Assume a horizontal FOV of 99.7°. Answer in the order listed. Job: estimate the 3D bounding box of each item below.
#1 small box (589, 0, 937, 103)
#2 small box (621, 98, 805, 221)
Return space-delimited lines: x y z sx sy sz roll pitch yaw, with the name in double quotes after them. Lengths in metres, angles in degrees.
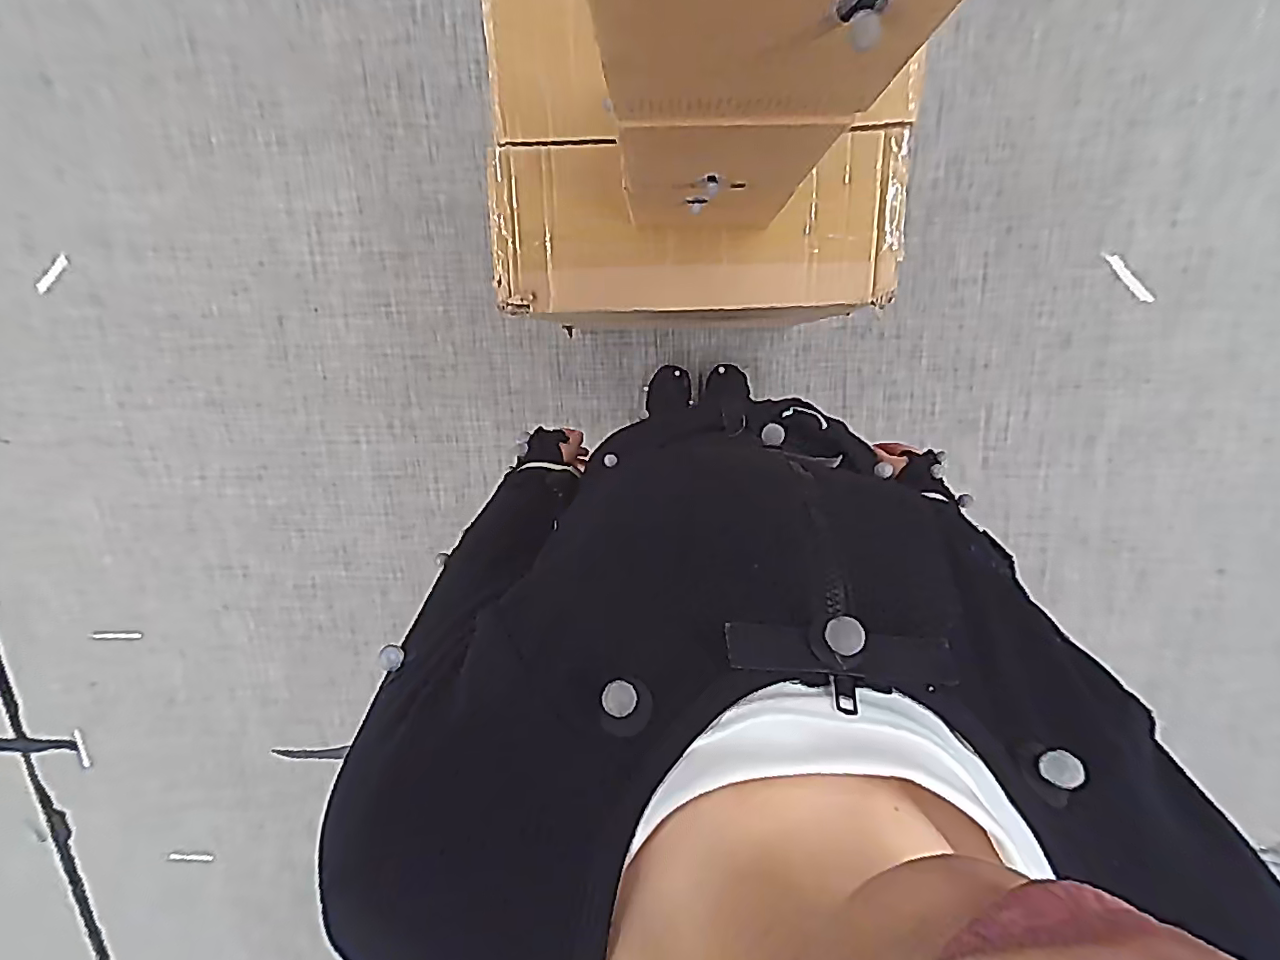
0.063 -0.314 0.267 0.179 0.176 0.168 0 103 3 "small box"
0.074 -0.389 0.587 0.179 0.176 0.168 1 104 2 "small box"
